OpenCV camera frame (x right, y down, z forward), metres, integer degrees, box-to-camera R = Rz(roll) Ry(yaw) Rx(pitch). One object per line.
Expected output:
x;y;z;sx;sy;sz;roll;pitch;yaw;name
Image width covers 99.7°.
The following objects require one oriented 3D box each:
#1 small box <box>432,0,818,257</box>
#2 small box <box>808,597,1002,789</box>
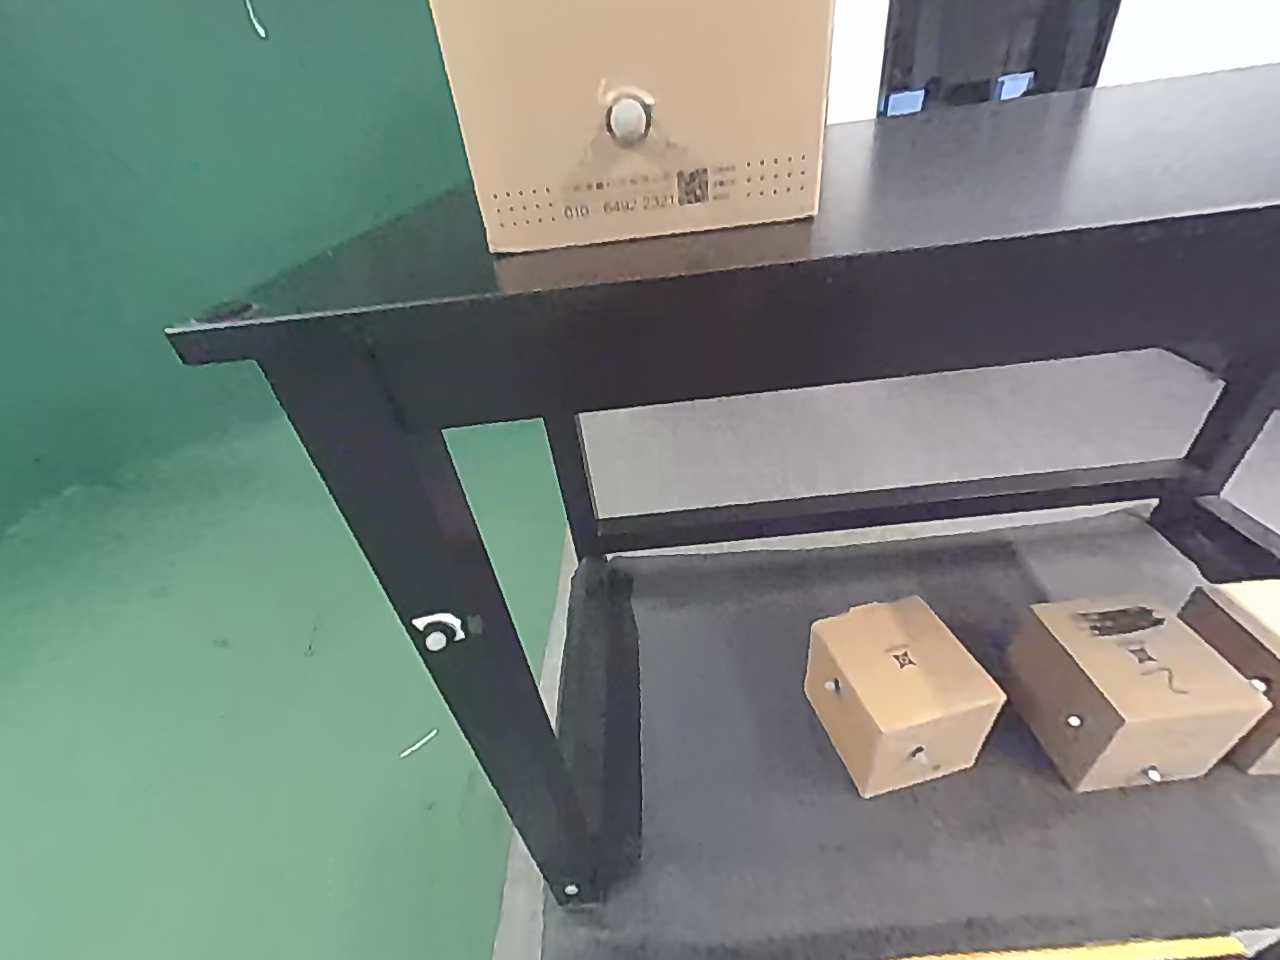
-0.007;-0.232;0.297;0.168;0.176;0.179;-6;36;3;small box
0.348;0.298;0.750;0.168;0.176;0.179;-12;35;-6;small box
